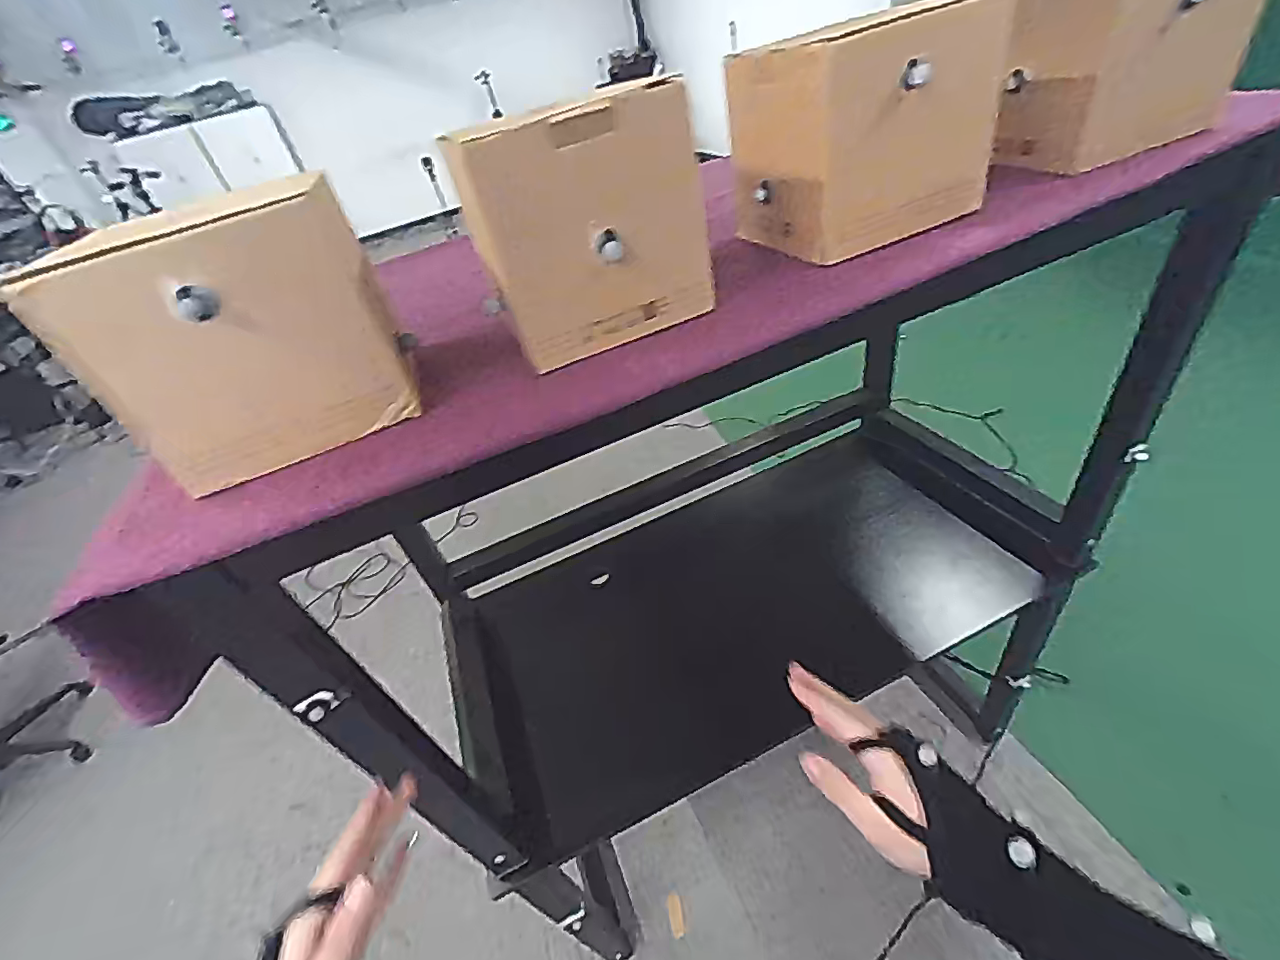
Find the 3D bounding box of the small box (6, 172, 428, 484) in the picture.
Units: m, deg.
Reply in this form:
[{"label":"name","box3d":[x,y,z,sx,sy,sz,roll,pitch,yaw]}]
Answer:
[{"label":"small box","box3d":[-0.293,-0.124,0.429,0.179,0.176,0.168,-23,39,-11]}]

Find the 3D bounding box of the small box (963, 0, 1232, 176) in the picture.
[{"label":"small box","box3d":[0.462,-0.440,0.569,0.179,0.176,0.168,-21,40,-7]}]

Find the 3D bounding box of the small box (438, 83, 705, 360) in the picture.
[{"label":"small box","box3d":[-0.057,-0.224,0.476,0.168,0.176,0.179,-23,39,-11]}]

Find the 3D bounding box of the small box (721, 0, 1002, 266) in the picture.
[{"label":"small box","box3d":[0.200,-0.331,0.526,0.179,0.176,0.168,-23,38,-9]}]
